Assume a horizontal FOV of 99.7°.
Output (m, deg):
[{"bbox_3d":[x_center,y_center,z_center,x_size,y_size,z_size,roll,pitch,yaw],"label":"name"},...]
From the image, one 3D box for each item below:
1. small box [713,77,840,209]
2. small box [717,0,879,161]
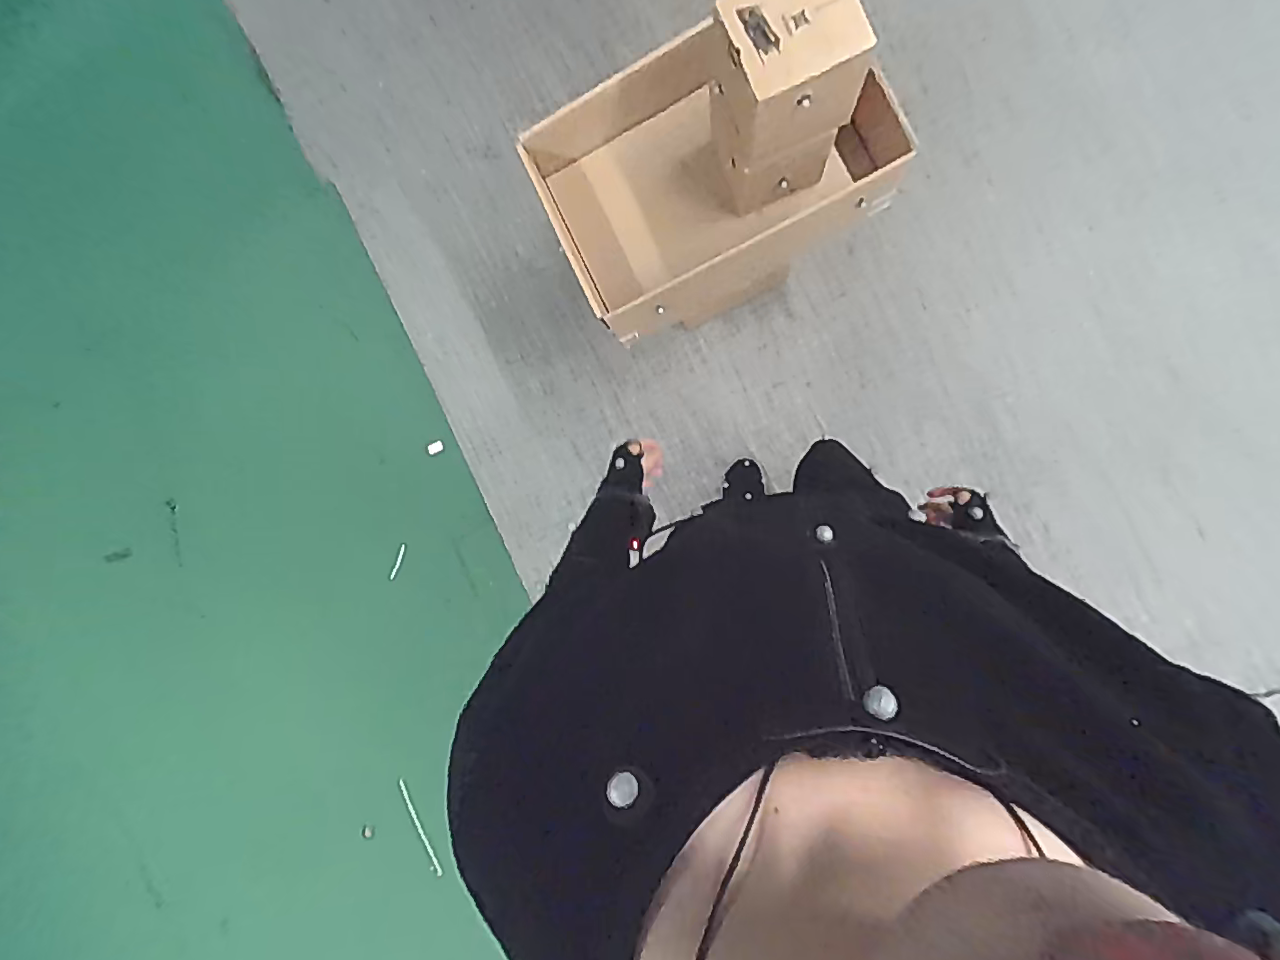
[{"bbox_3d":[0.241,-0.626,0.983,0.168,0.176,0.179,-21,86,9],"label":"small box"},{"bbox_3d":[0.228,-0.630,0.818,0.179,0.176,0.168,-22,87,8],"label":"small box"}]
